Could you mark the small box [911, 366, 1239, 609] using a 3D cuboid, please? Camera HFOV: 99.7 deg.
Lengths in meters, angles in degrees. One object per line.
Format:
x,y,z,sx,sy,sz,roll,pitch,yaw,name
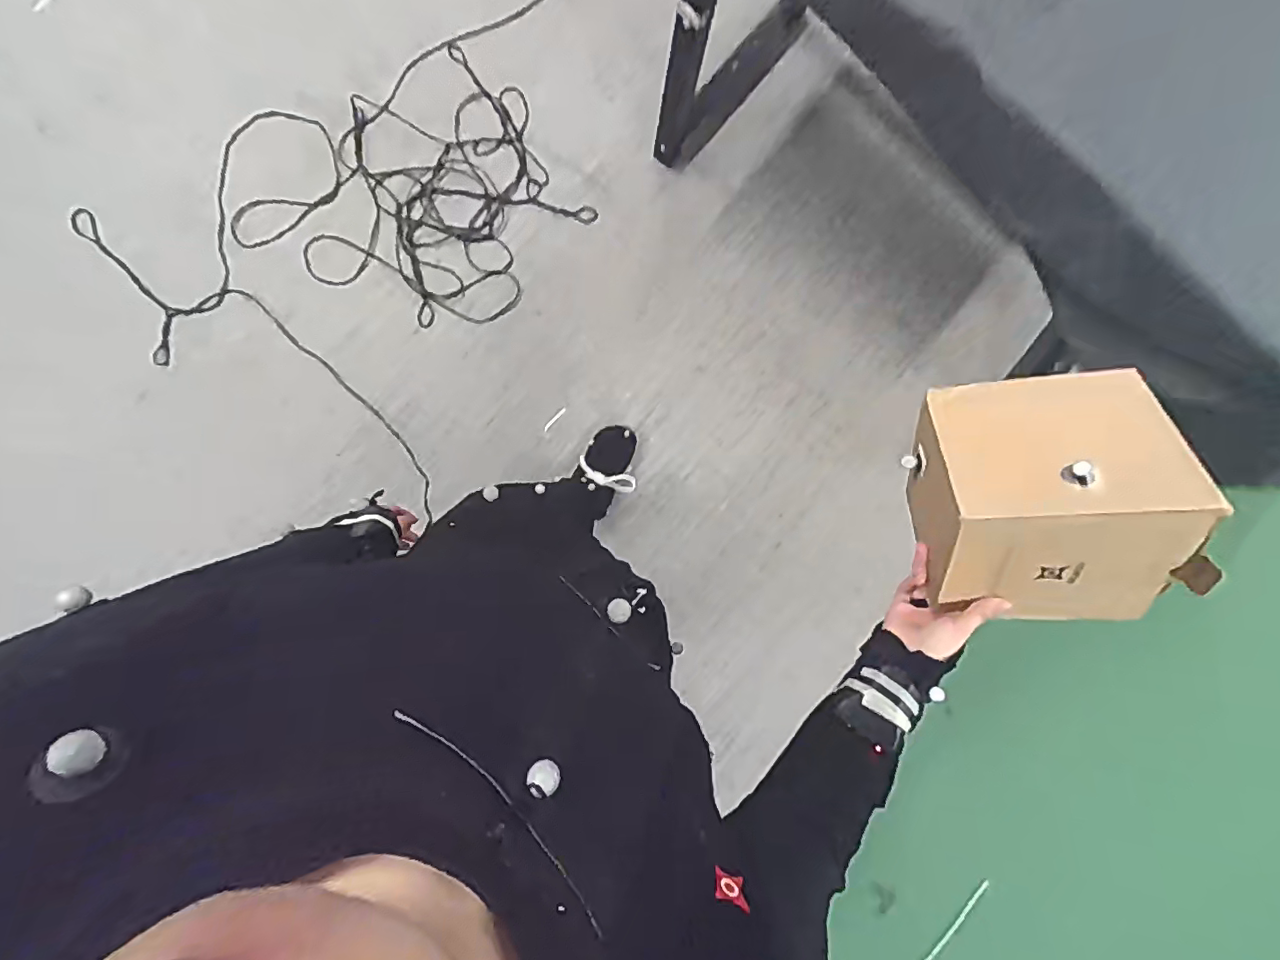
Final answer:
0.377,0.008,0.517,0.179,0.168,0.176,-4,47,17,small box
